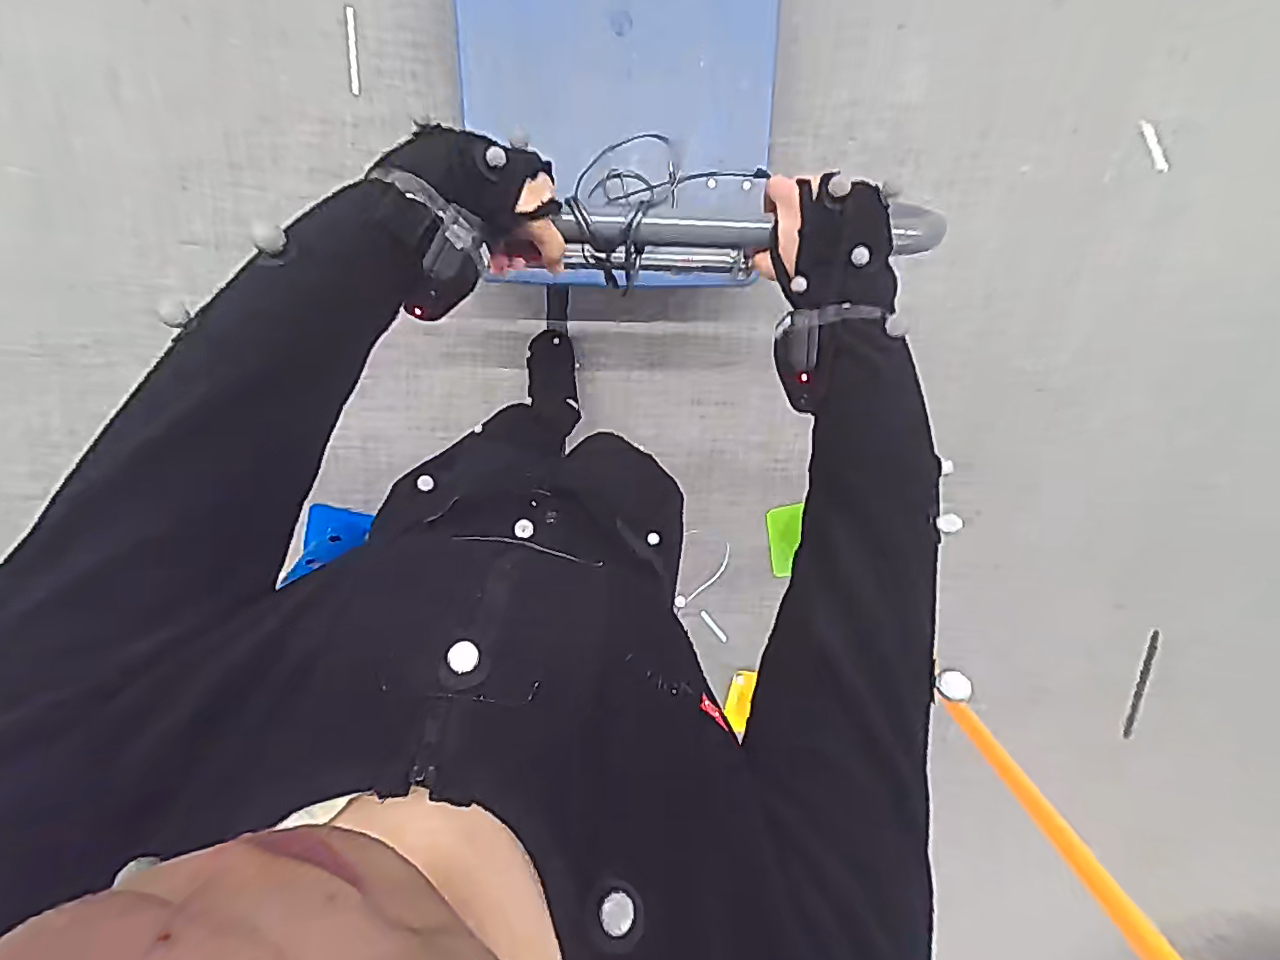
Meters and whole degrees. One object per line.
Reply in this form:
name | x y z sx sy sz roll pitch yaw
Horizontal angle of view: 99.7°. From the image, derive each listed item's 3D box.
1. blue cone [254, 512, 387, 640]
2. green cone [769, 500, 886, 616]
blue cone | -0.715 0.223 1.179 0.193 0.380 0.192 16 104 -10
green cone | 0.462 0.207 1.273 0.200 0.368 0.202 -12 107 -2
